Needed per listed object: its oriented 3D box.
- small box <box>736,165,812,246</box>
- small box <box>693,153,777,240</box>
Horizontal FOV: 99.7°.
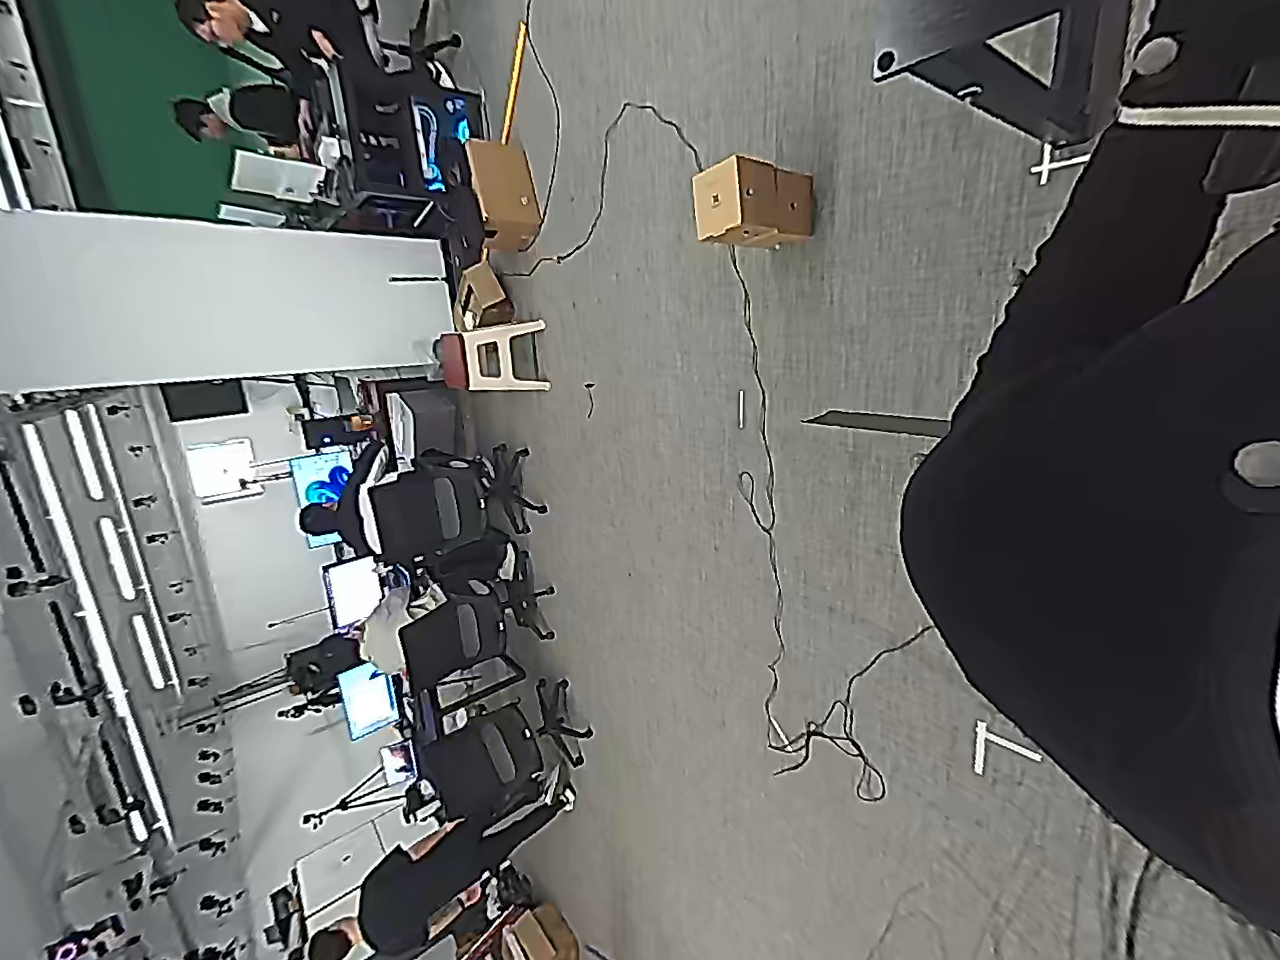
[{"bbox_3d":[0.401,-0.818,1.628,0.168,0.176,0.179,10,111,51],"label":"small box"},{"bbox_3d":[0.273,-0.791,1.531,0.168,0.176,0.179,5,105,51],"label":"small box"}]
